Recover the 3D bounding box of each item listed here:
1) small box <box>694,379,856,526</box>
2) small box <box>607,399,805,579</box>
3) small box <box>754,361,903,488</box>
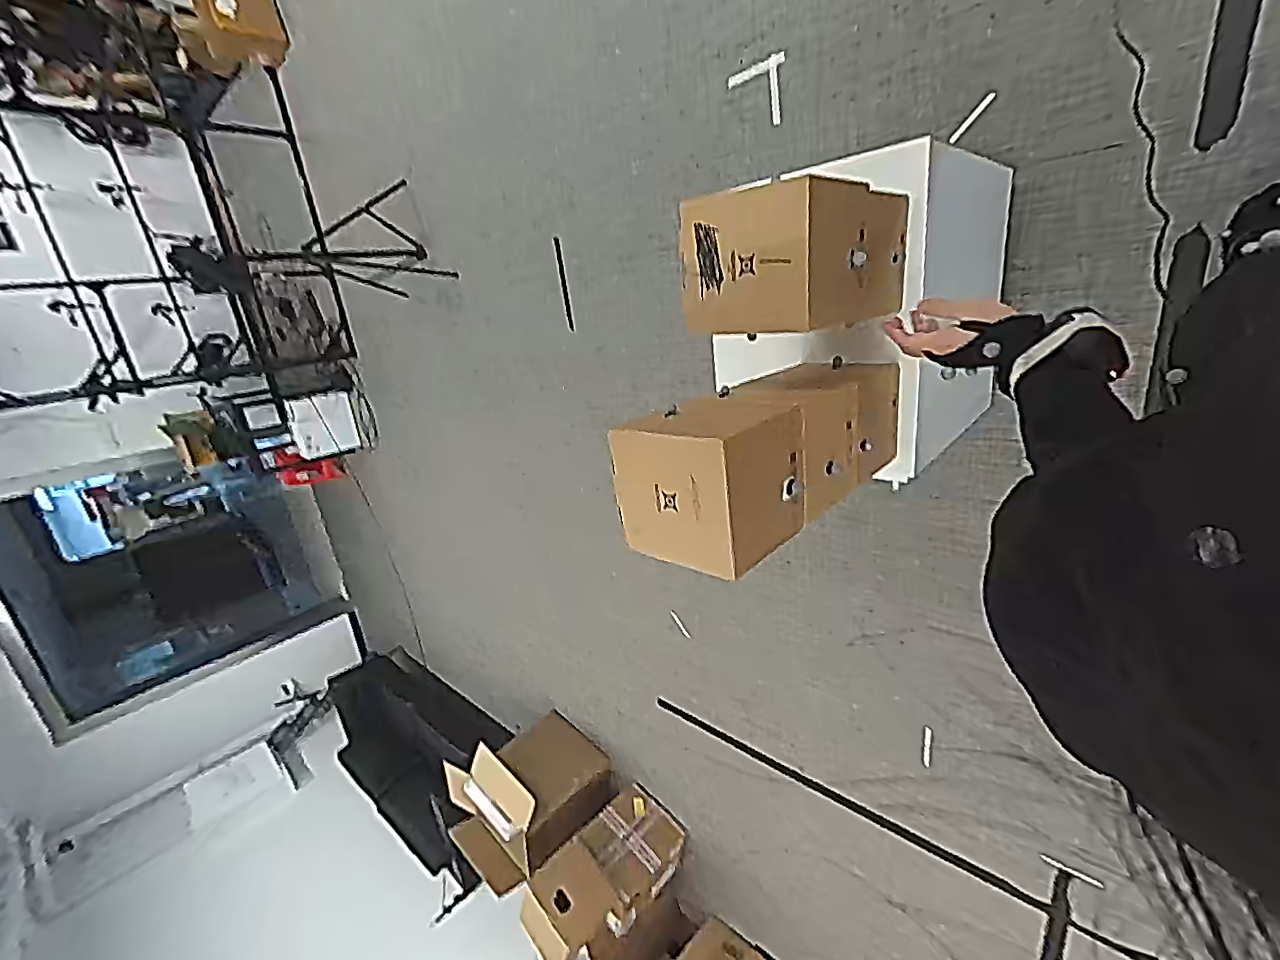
[{"bbox_3d":[0.199,-0.051,0.784,0.179,0.176,0.168,10,115,44],"label":"small box"},{"bbox_3d":[0.086,-0.002,0.678,0.179,0.176,0.168,9,115,43],"label":"small box"},{"bbox_3d":[0.309,-0.100,0.894,0.179,0.176,0.168,12,116,43],"label":"small box"}]
